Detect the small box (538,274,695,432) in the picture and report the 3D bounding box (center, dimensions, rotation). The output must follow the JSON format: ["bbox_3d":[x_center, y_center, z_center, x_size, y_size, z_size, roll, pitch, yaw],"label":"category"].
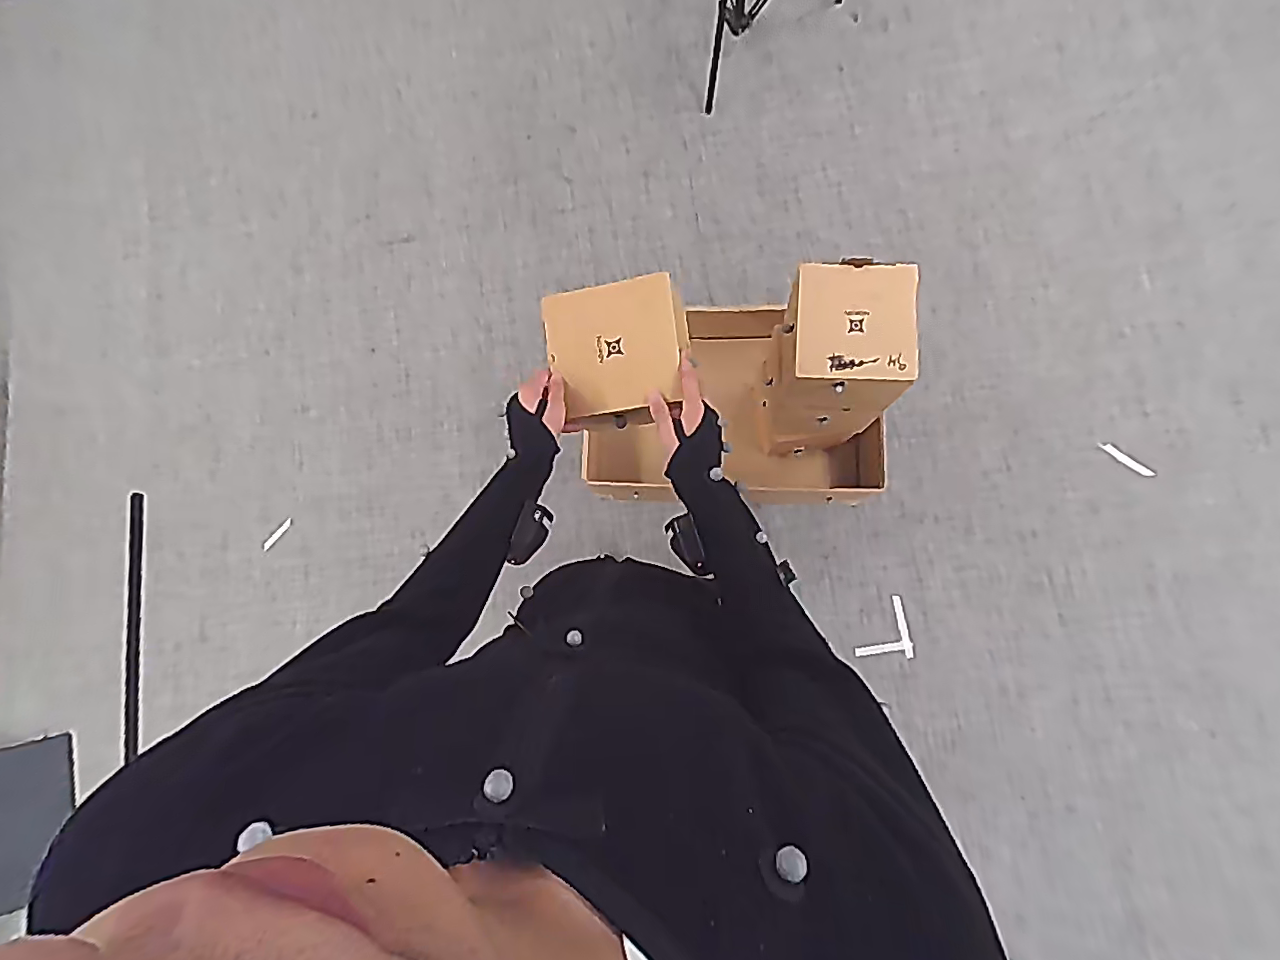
[{"bbox_3d":[-0.021,-0.164,0.757,0.179,0.176,0.168,-8,88,14],"label":"small box"}]

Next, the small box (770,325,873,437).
[{"bbox_3d":[0.332,-0.177,0.988,0.179,0.176,0.168,-2,81,7],"label":"small box"}]

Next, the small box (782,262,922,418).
[{"bbox_3d":[0.314,-0.207,0.827,0.168,0.176,0.179,4,81,9],"label":"small box"}]
